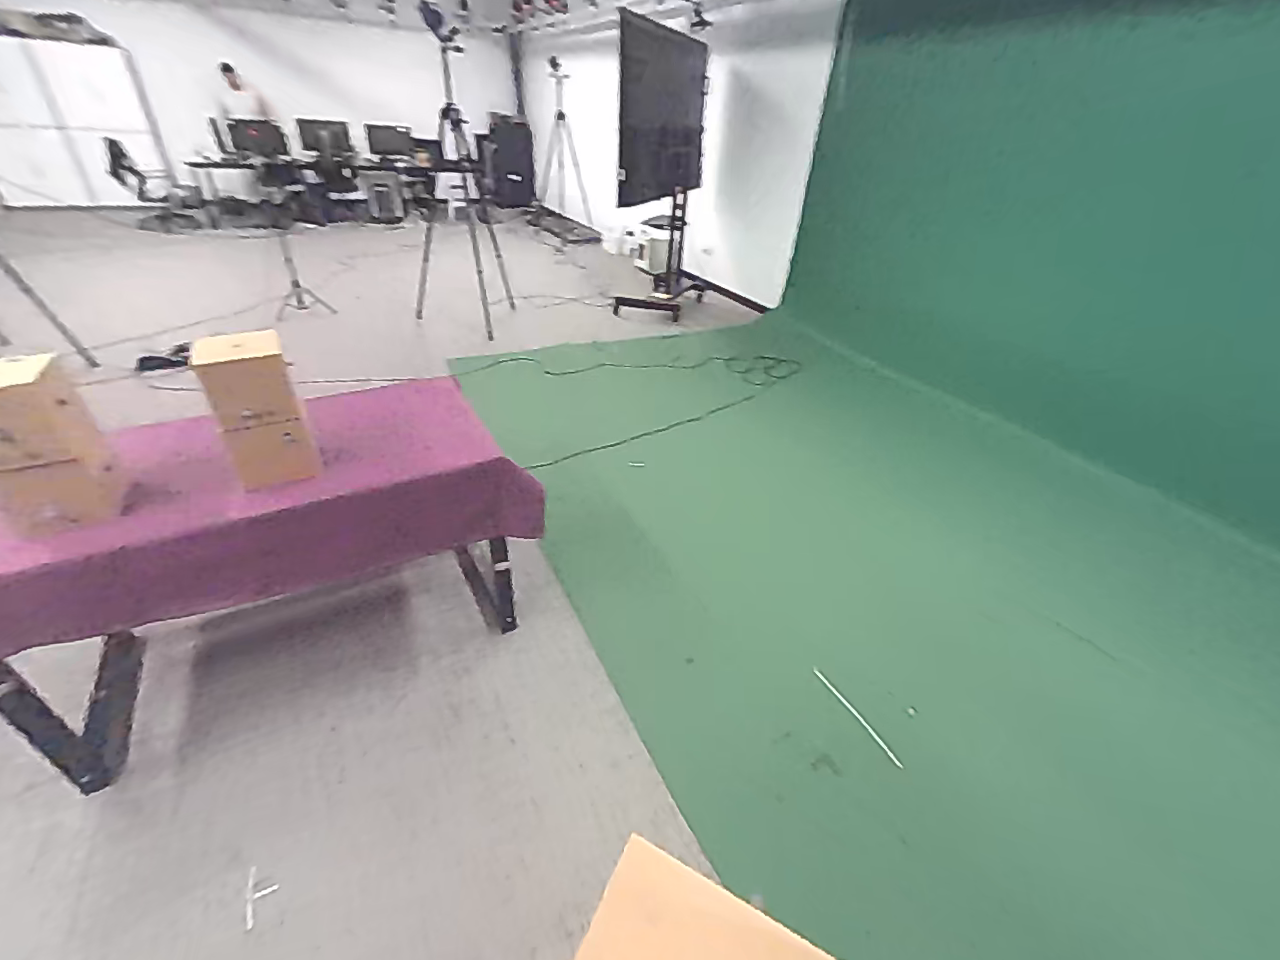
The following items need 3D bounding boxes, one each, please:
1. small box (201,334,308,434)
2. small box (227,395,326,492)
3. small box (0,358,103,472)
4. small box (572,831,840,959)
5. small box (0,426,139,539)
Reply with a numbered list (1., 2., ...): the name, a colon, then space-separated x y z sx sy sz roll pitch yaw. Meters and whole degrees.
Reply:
1. small box: -0.910 -0.231 1.286 0.168 0.176 0.179 -17 40 -27
2. small box: -0.916 -0.094 1.375 0.179 0.176 0.168 -16 38 -26
3. small box: -1.254 -0.129 1.104 0.168 0.176 0.179 -14 38 -25
4. small box: 0.027 0.401 0.397 0.168 0.176 0.179 20 55 19
5. small box: -1.262 0.002 1.202 0.168 0.176 0.179 -15 39 -25
